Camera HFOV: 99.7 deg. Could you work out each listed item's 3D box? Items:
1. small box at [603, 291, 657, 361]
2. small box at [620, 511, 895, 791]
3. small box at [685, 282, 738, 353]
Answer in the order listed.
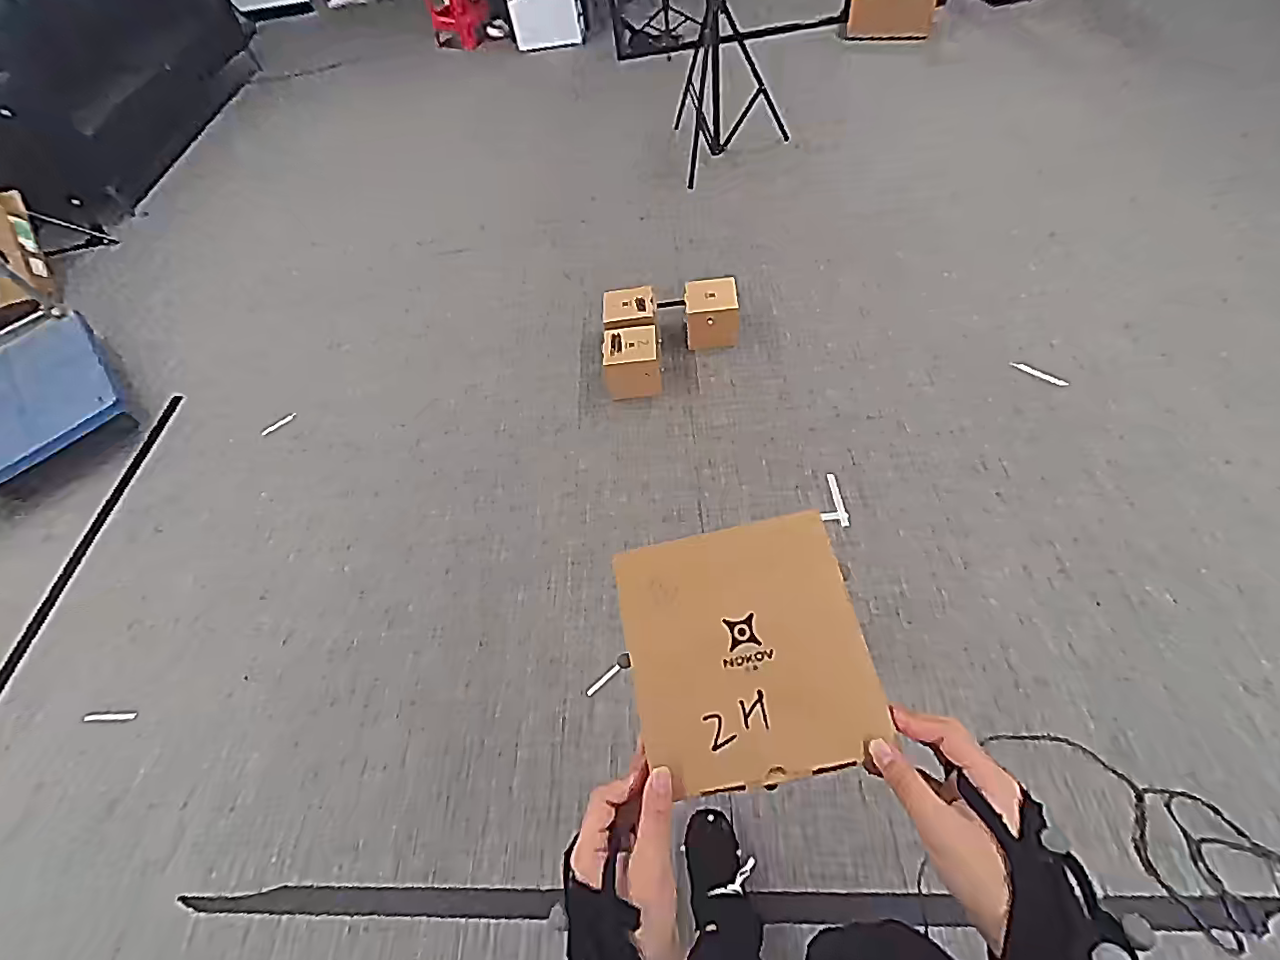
[{"bbox_3d":[-0.030,-0.550,1.949,0.179,0.176,0.168,-5,56,7],"label":"small box"},{"bbox_3d":[0.086,0.149,0.465,0.168,0.176,0.179,-13,65,3],"label":"small box"},{"bbox_3d":[0.252,-0.574,1.919,0.179,0.176,0.168,-4,56,7],"label":"small box"}]
